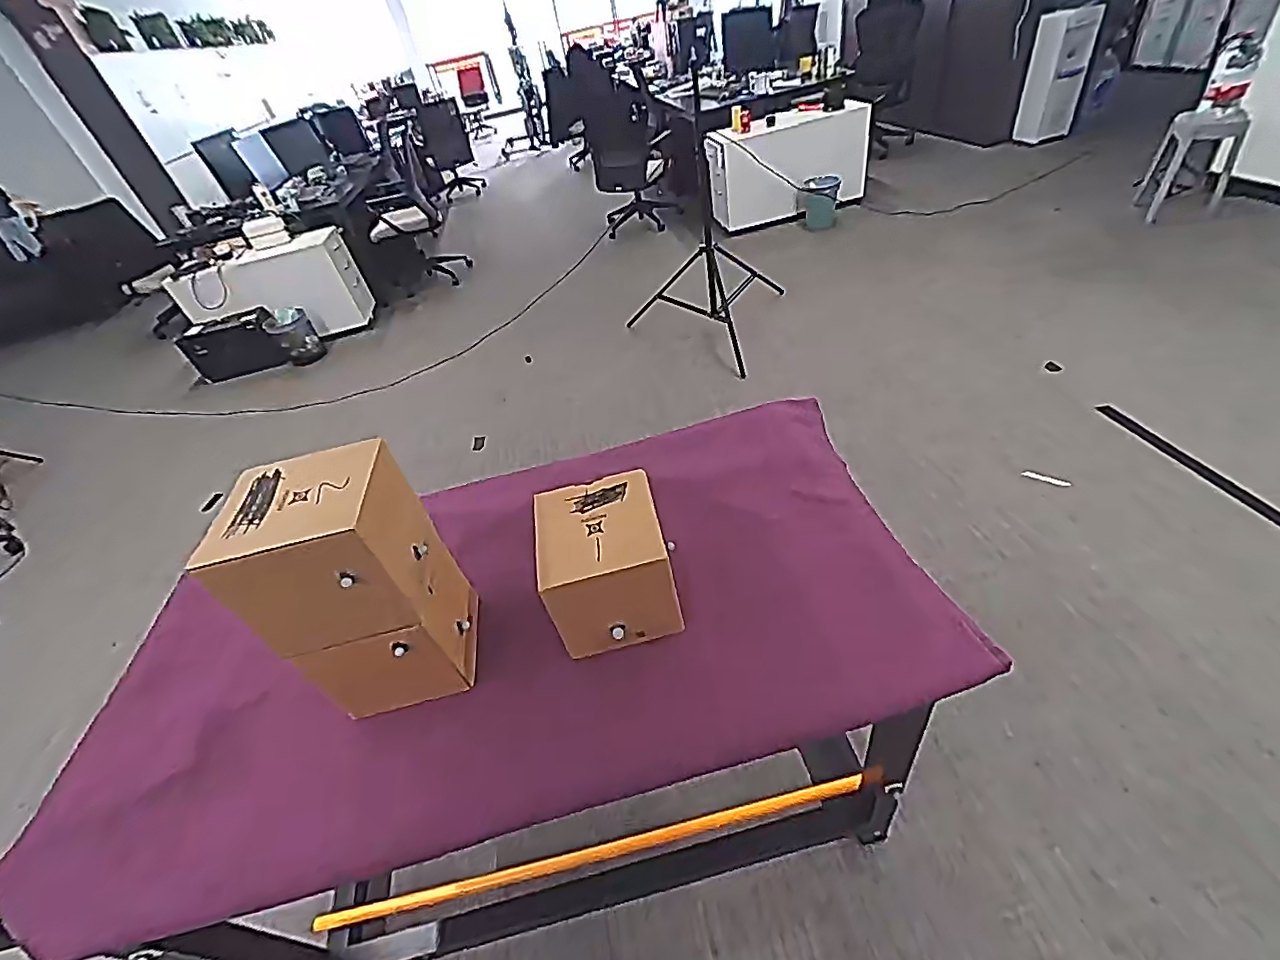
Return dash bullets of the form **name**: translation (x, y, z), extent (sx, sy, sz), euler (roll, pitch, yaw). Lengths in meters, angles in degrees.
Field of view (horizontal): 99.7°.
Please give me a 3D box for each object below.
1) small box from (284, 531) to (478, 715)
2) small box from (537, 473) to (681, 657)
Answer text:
- **small box**: translation (-0.347, 0.204, 0.765), extent (0.179, 0.176, 0.168), euler (-14, 41, -2)
- **small box**: translation (-0.045, 0.121, 0.776), extent (0.168, 0.176, 0.179), euler (-14, 41, 0)
